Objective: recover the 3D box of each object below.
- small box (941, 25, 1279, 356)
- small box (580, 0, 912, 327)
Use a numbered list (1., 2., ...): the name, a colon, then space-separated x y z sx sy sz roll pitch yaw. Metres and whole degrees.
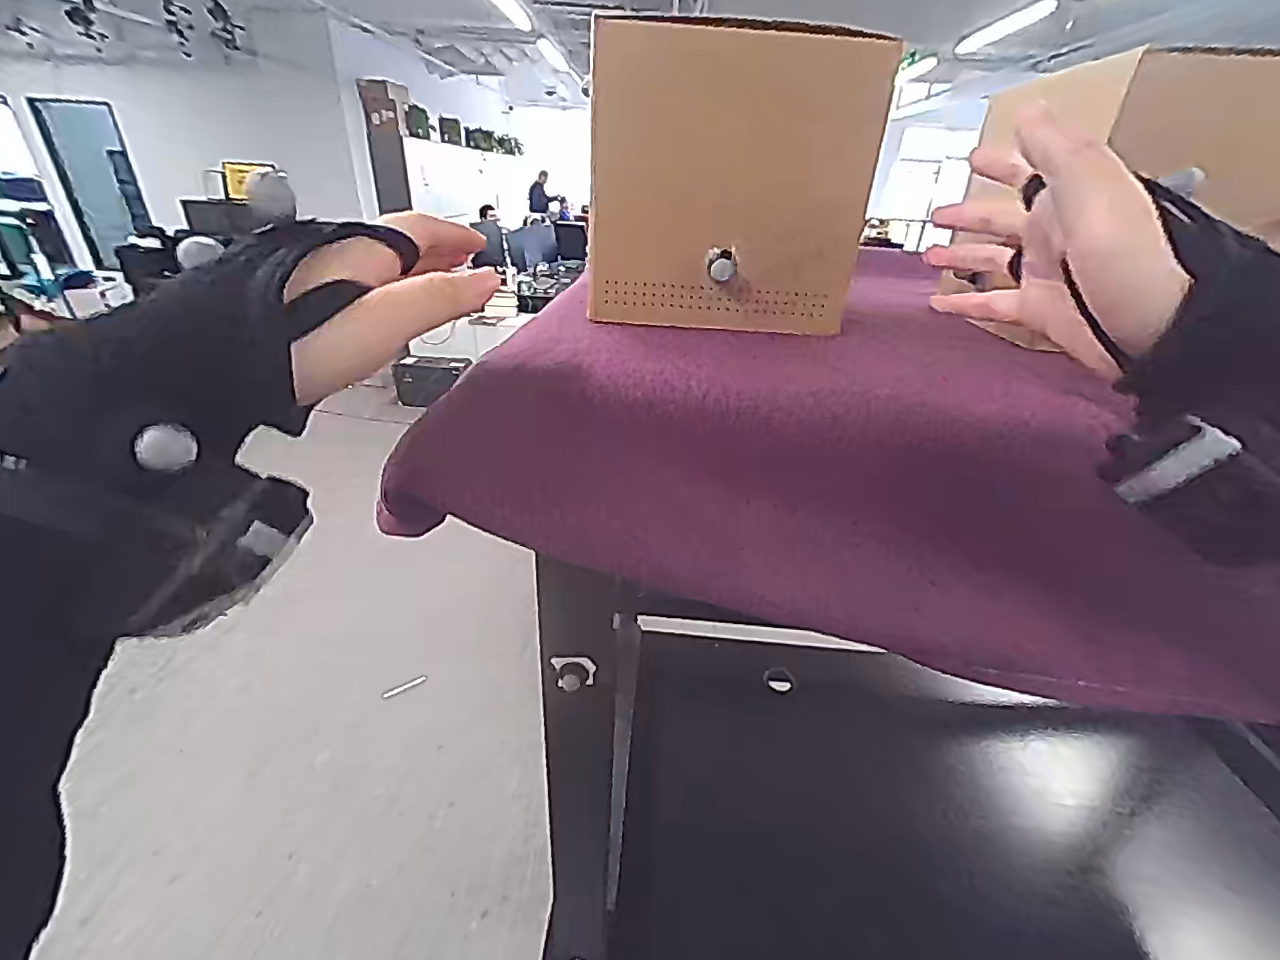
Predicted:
1. small box: 0.353 -0.191 0.382 0.179 0.176 0.168 4 28 2
2. small box: 0.053 -0.213 0.389 0.179 0.176 0.168 3 29 -1
